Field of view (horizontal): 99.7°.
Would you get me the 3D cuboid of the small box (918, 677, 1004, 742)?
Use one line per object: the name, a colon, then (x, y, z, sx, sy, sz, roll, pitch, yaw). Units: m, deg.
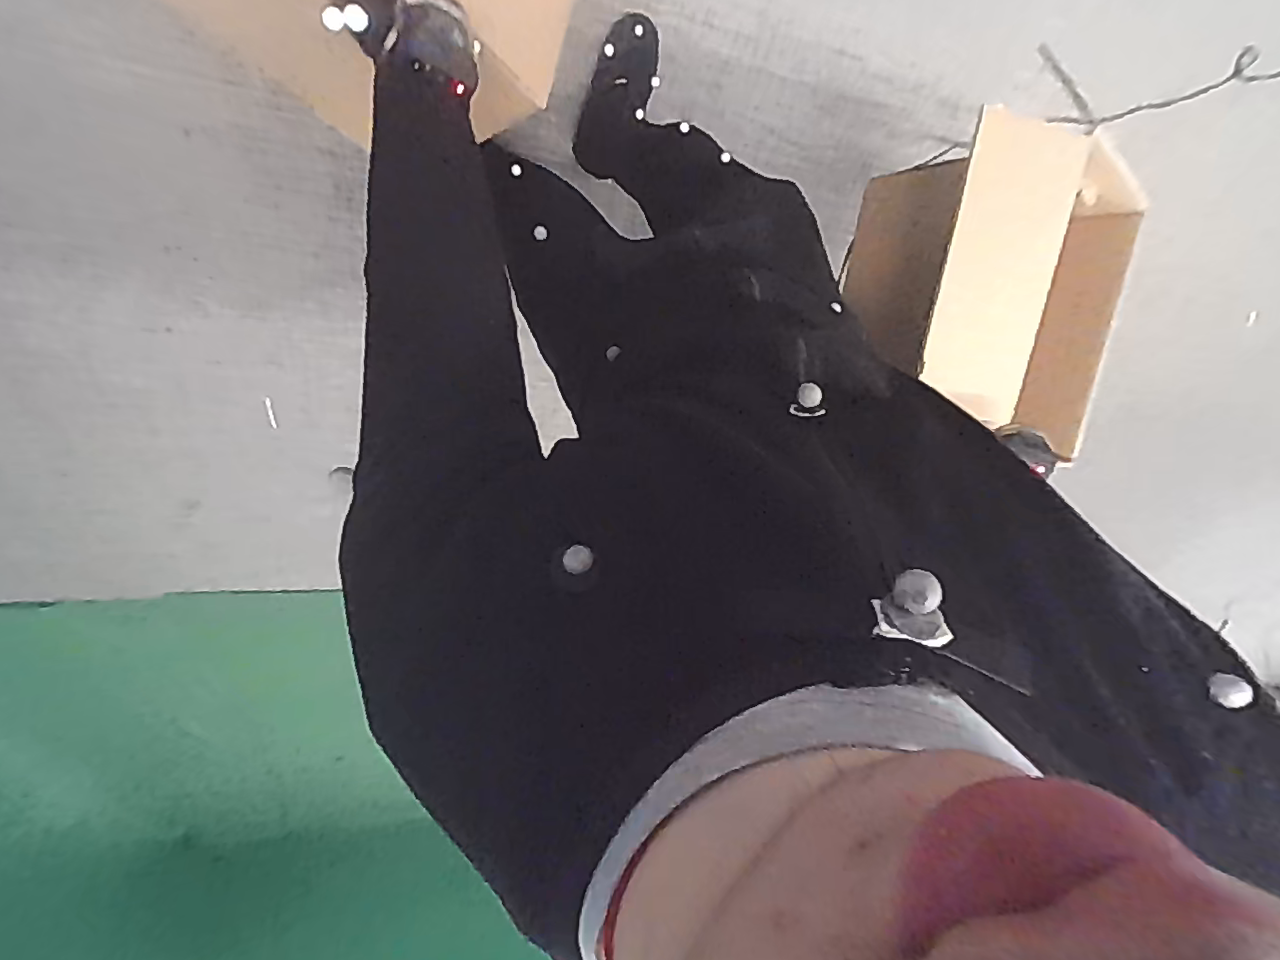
small box: (1.132, 0.811, 1.926, 0.168, 0.176, 0.179, -2, 139, -10)

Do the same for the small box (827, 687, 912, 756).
small box: (0.772, 0.820, 1.842, 0.179, 0.176, 0.168, 5, 135, -18)

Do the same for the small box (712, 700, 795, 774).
small box: (0.356, 0.816, 1.726, 0.179, 0.176, 0.168, 8, 133, -21)
